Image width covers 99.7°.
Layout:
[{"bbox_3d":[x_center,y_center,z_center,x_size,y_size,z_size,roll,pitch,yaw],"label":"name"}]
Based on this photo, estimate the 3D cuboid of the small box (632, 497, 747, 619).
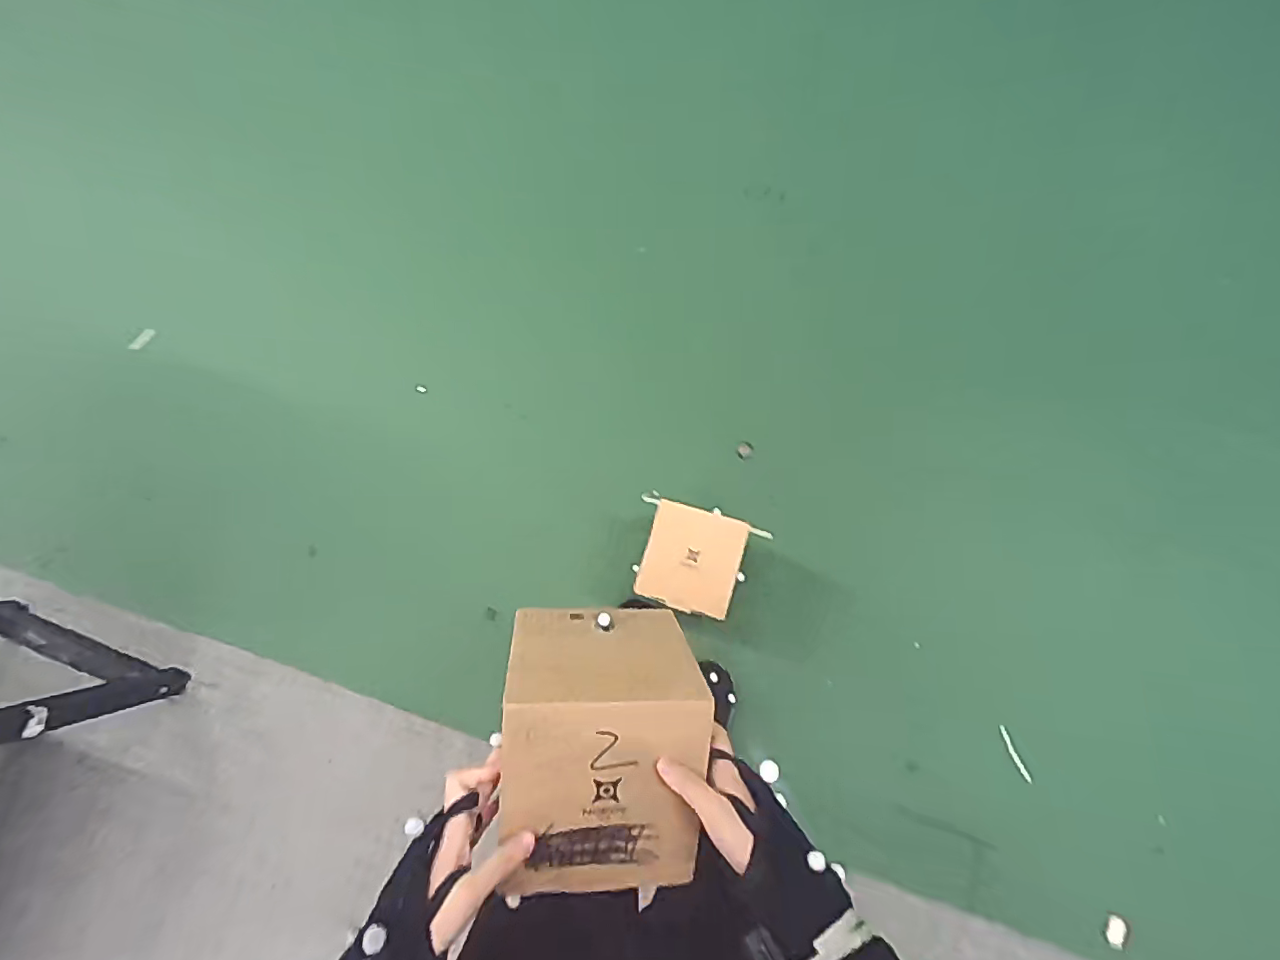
[{"bbox_3d":[0.091,0.144,1.021,0.168,0.176,0.179,17,85,6],"label":"small box"}]
